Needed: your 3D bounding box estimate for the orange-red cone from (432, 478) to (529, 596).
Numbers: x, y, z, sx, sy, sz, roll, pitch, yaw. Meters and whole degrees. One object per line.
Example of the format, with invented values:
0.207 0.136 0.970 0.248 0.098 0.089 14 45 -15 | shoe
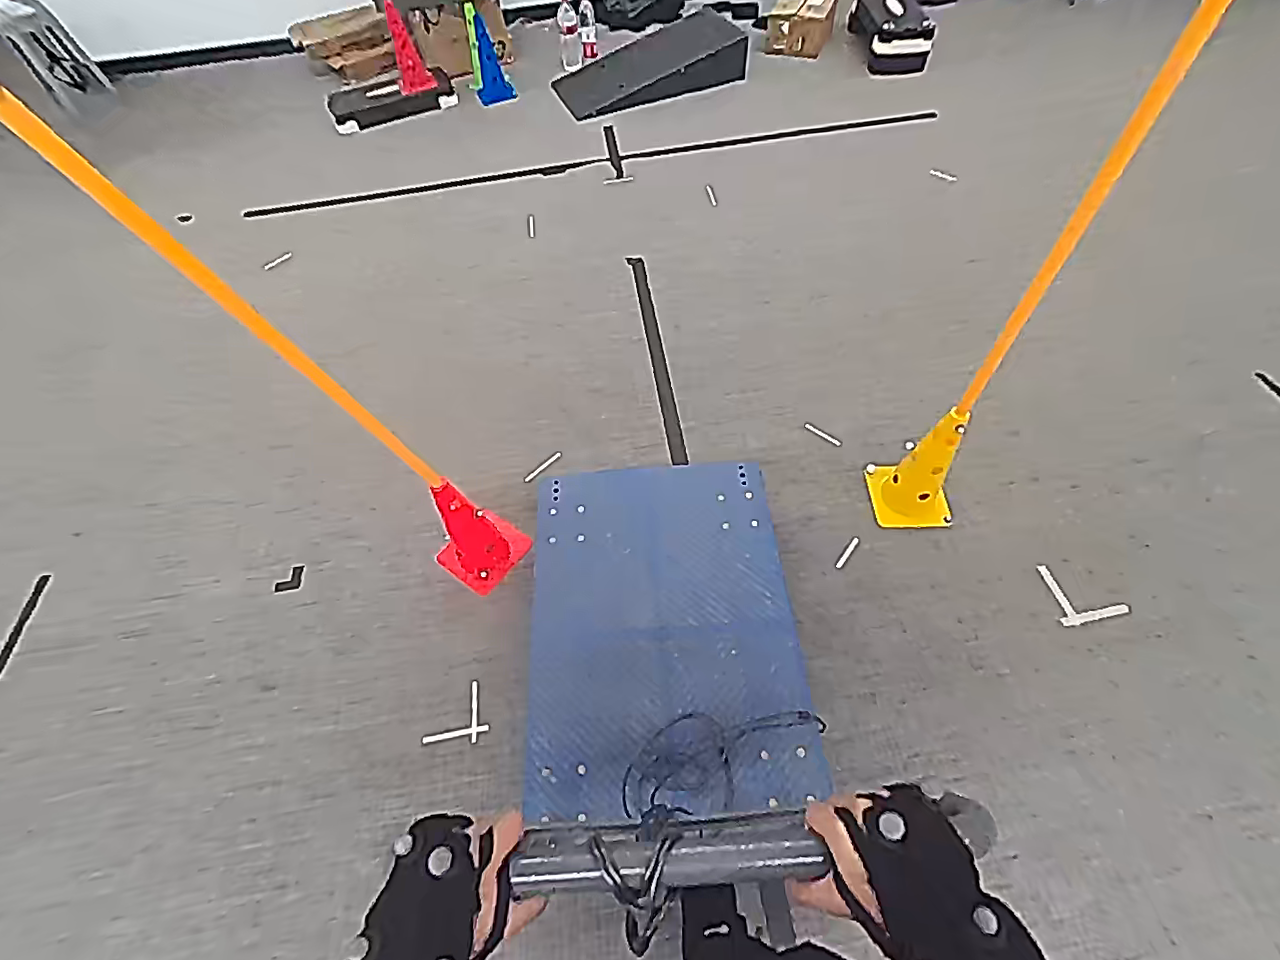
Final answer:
-0.438 0.106 1.346 0.198 0.360 0.199 31 63 21 | orange-red cone
